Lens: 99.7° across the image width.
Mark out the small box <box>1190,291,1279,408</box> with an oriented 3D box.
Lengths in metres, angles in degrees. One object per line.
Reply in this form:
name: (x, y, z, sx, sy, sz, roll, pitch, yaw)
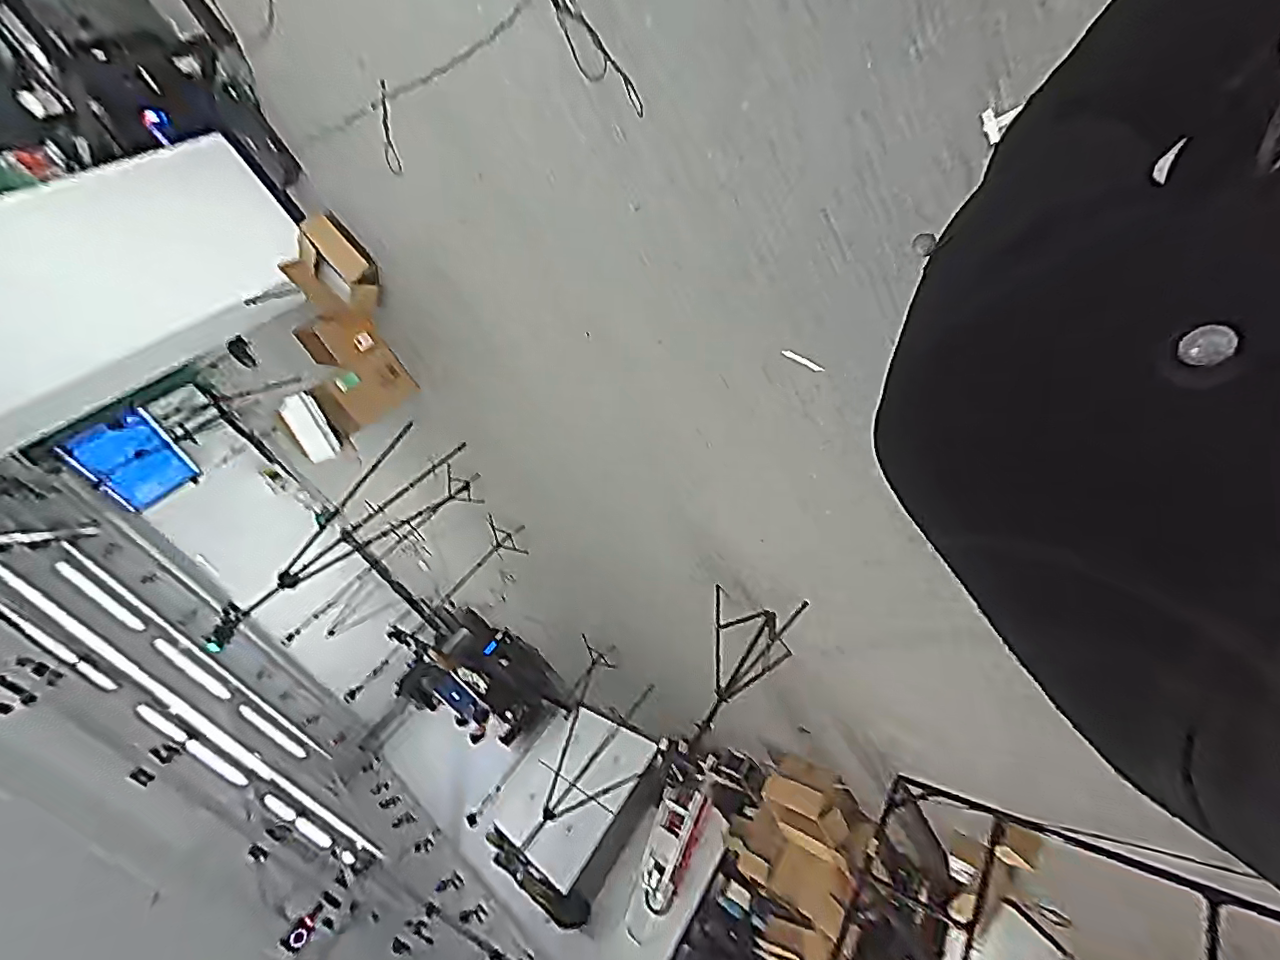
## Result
small box: (1.296, -0.277, 1.138, 0.179, 0.176, 0.168, -5, 125, 52)
